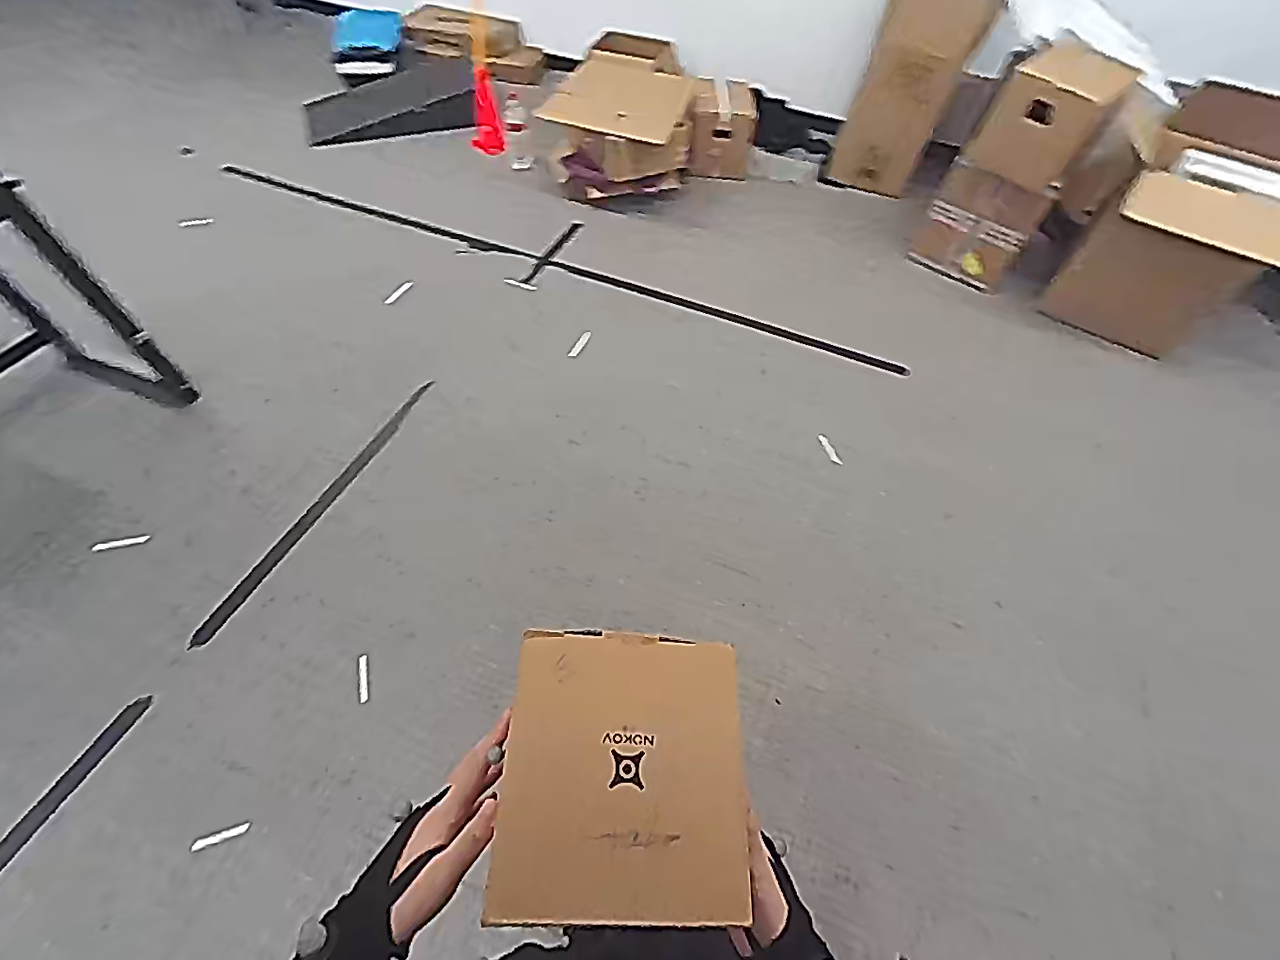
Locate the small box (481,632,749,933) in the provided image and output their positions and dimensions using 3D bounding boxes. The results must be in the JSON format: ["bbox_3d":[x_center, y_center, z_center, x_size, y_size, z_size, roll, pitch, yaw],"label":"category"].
[{"bbox_3d":[-0.026,0.236,0.431,0.168,0.176,0.179,6,57,-8],"label":"small box"}]
